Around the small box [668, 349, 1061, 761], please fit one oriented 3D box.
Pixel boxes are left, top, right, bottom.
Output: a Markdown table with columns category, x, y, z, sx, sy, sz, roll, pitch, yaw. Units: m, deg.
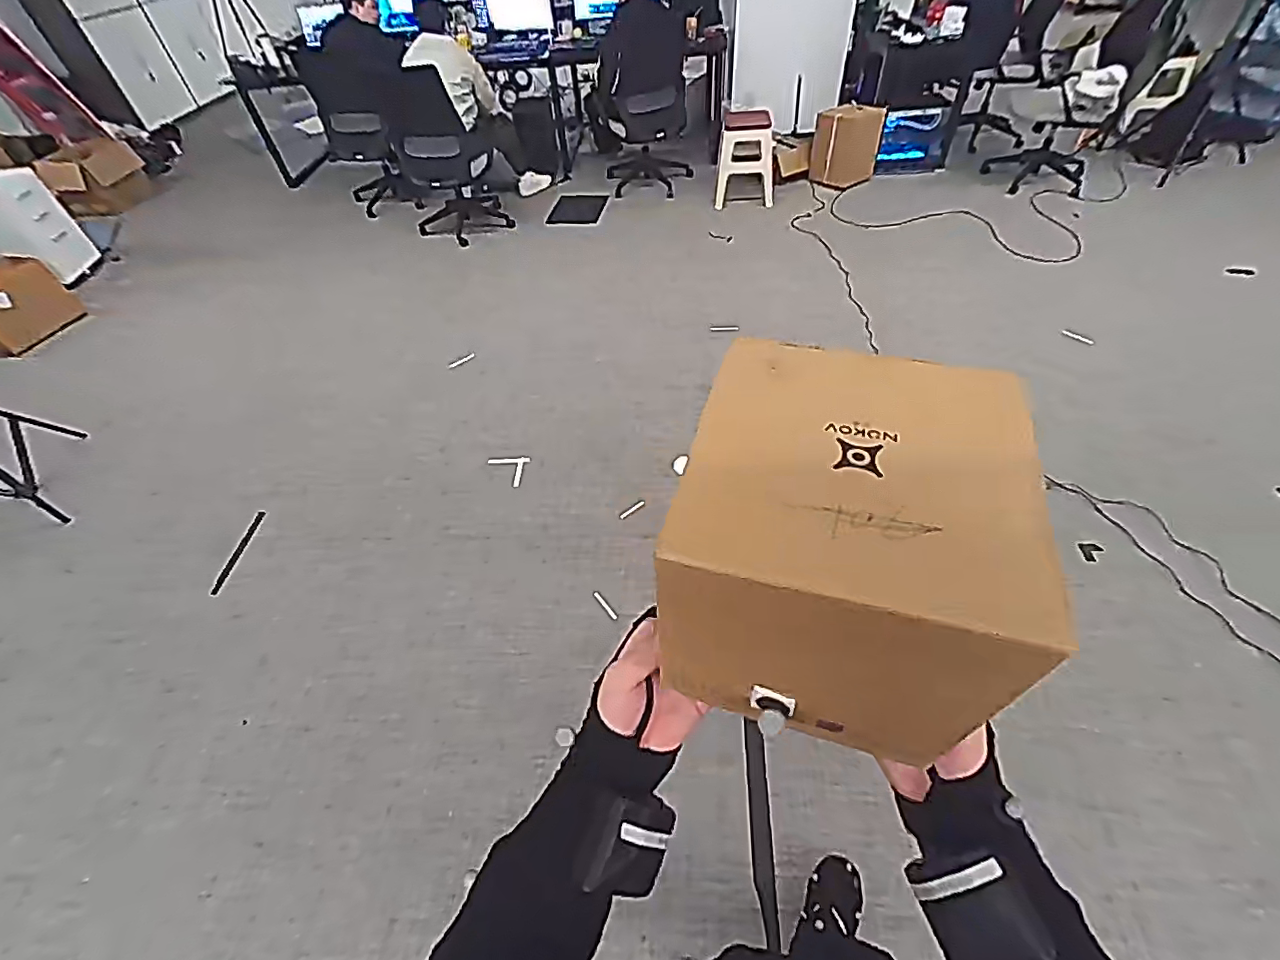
| category | x | y | z | sx | sy | sz | roll | pitch | yaw |
| --- | --- | --- | --- | --- | --- | --- | --- | --- | --- |
| small box | 0.116 | 0.045 | 0.343 | 0.168 | 0.176 | 0.179 | 10 | 50 | 13 |
